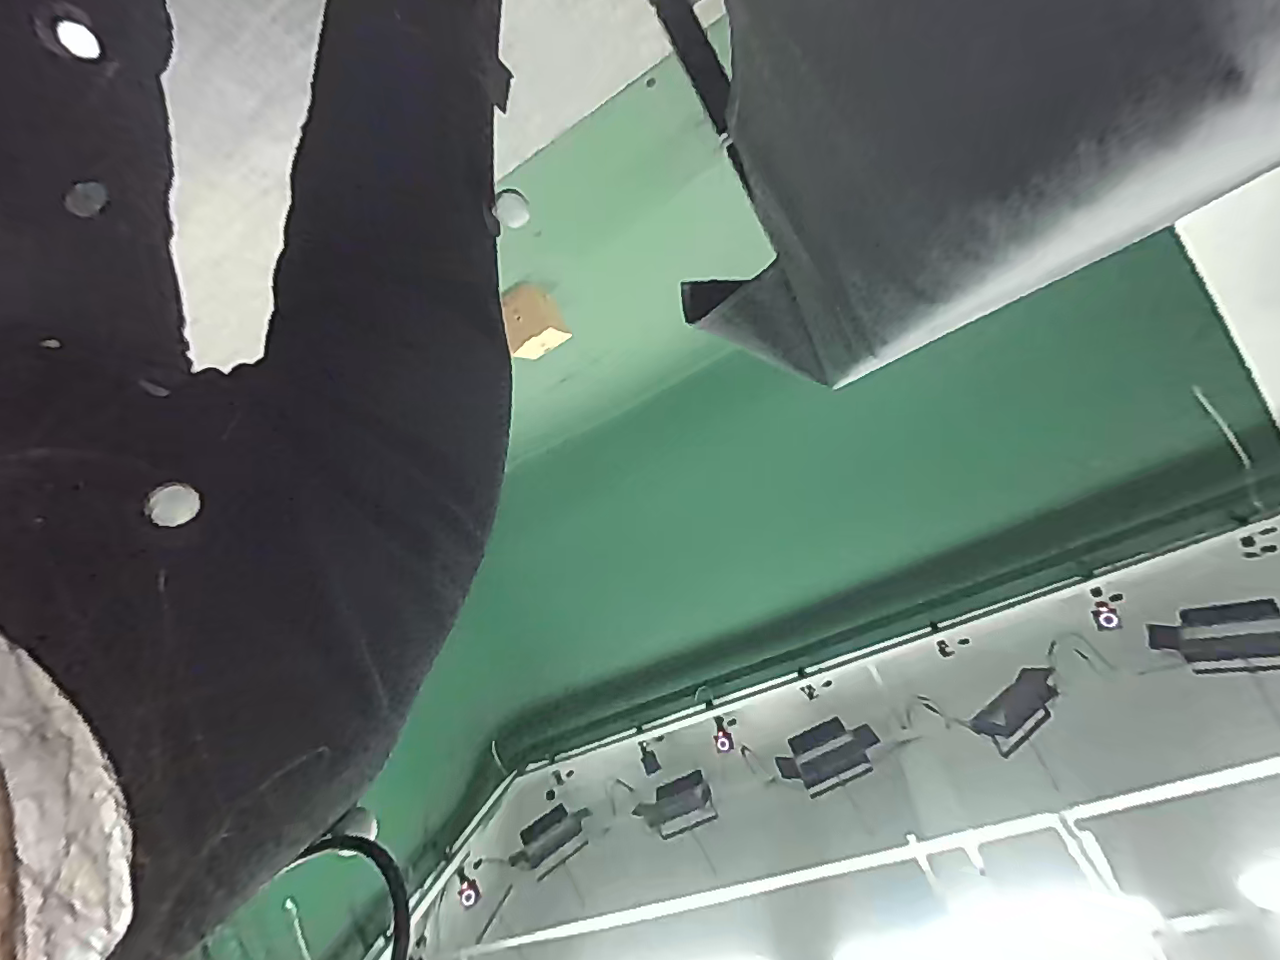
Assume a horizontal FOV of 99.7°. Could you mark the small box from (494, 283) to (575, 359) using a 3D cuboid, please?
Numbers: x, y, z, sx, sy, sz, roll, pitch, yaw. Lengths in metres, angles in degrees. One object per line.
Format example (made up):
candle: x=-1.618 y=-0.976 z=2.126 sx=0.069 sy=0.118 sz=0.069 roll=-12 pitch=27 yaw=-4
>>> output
small box: x=-0.350 y=-0.524 z=1.785 sx=0.168 sy=0.176 sz=0.179 roll=-26 pitch=178 yaw=18
